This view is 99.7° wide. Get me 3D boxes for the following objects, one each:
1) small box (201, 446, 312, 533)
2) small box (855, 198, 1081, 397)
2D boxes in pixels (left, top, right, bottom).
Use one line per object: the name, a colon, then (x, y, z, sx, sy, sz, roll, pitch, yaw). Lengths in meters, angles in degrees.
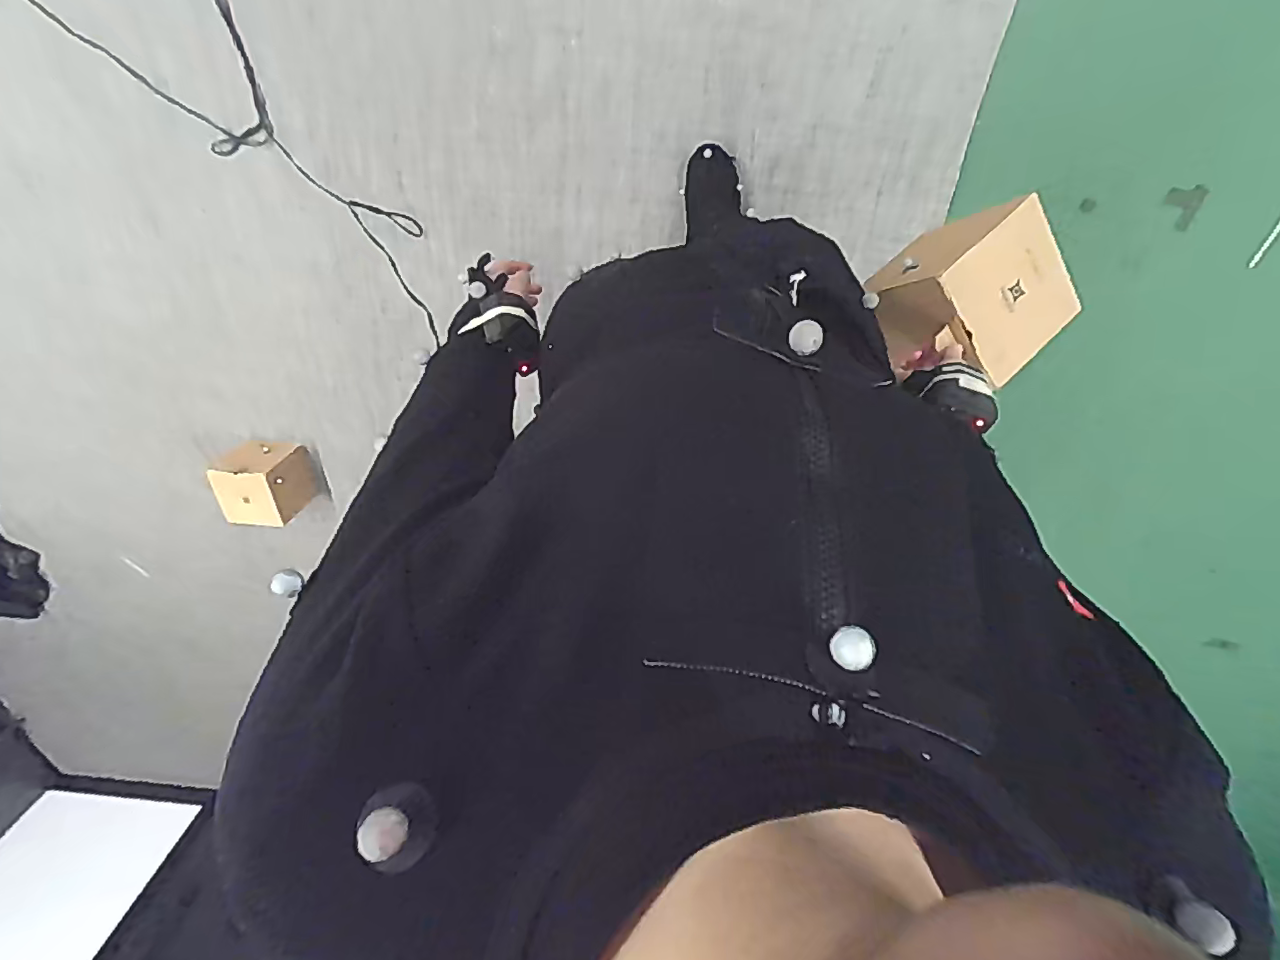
small box: (-1.054, 0.025, 1.506, 0.168, 0.176, 0.179, 4, 121, 3)
small box: (0.415, -0.222, 0.711, 0.179, 0.176, 0.168, -41, 108, -12)
